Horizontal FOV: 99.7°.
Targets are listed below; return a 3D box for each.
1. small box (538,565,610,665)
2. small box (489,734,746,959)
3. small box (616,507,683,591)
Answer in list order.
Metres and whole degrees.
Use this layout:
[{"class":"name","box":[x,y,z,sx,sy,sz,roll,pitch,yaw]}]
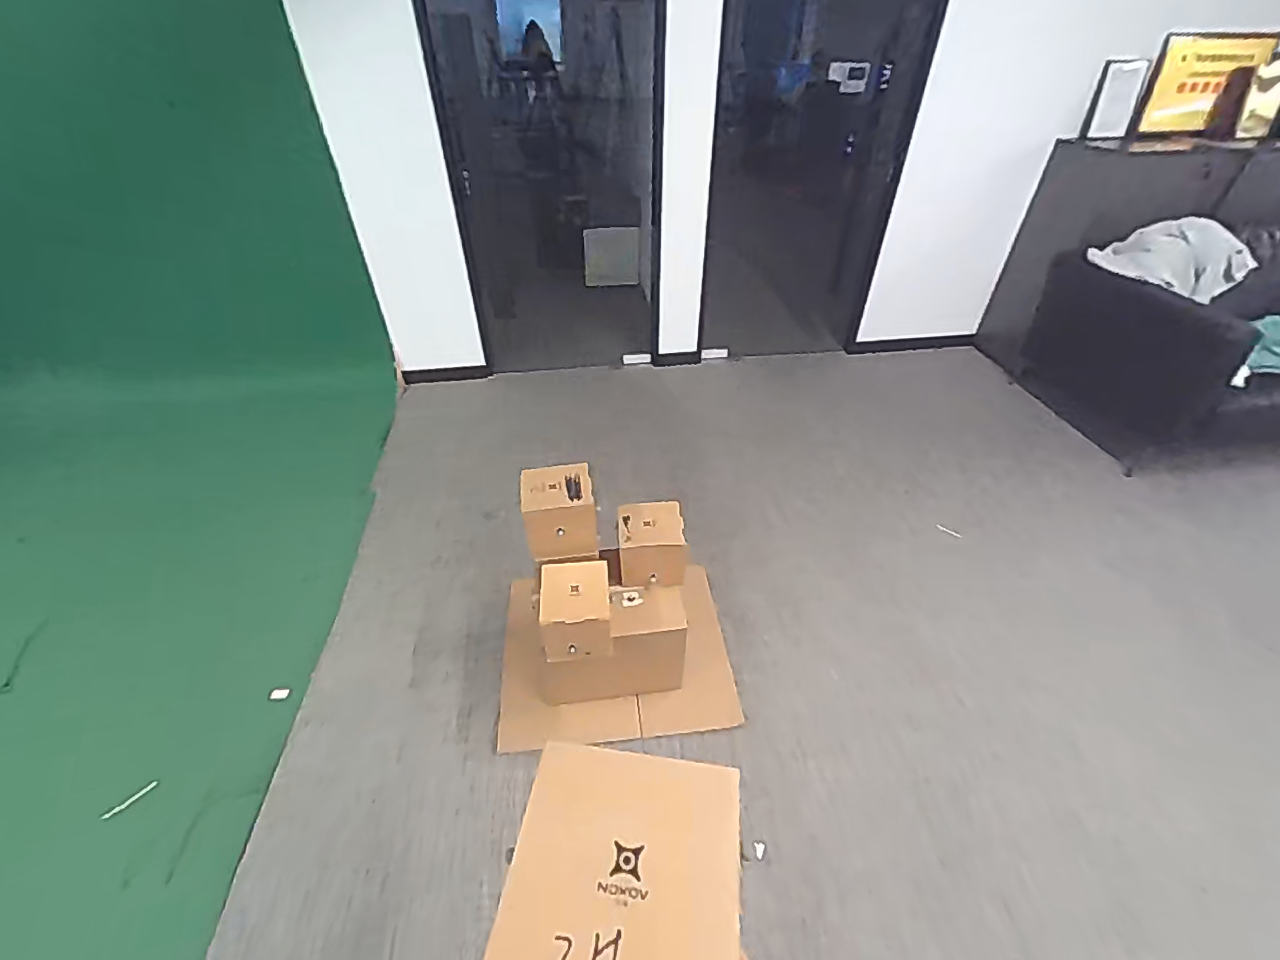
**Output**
[{"class":"small box","box":[-0.162,0.336,1.351,0.168,0.176,0.179,-3,41,-5]},{"class":"small box","box":[-0.008,0.341,0.436,0.168,0.176,0.179,5,37,7]},{"class":"small box","box":[0.024,0.195,1.519,0.179,0.176,0.168,-3,40,-1]}]
